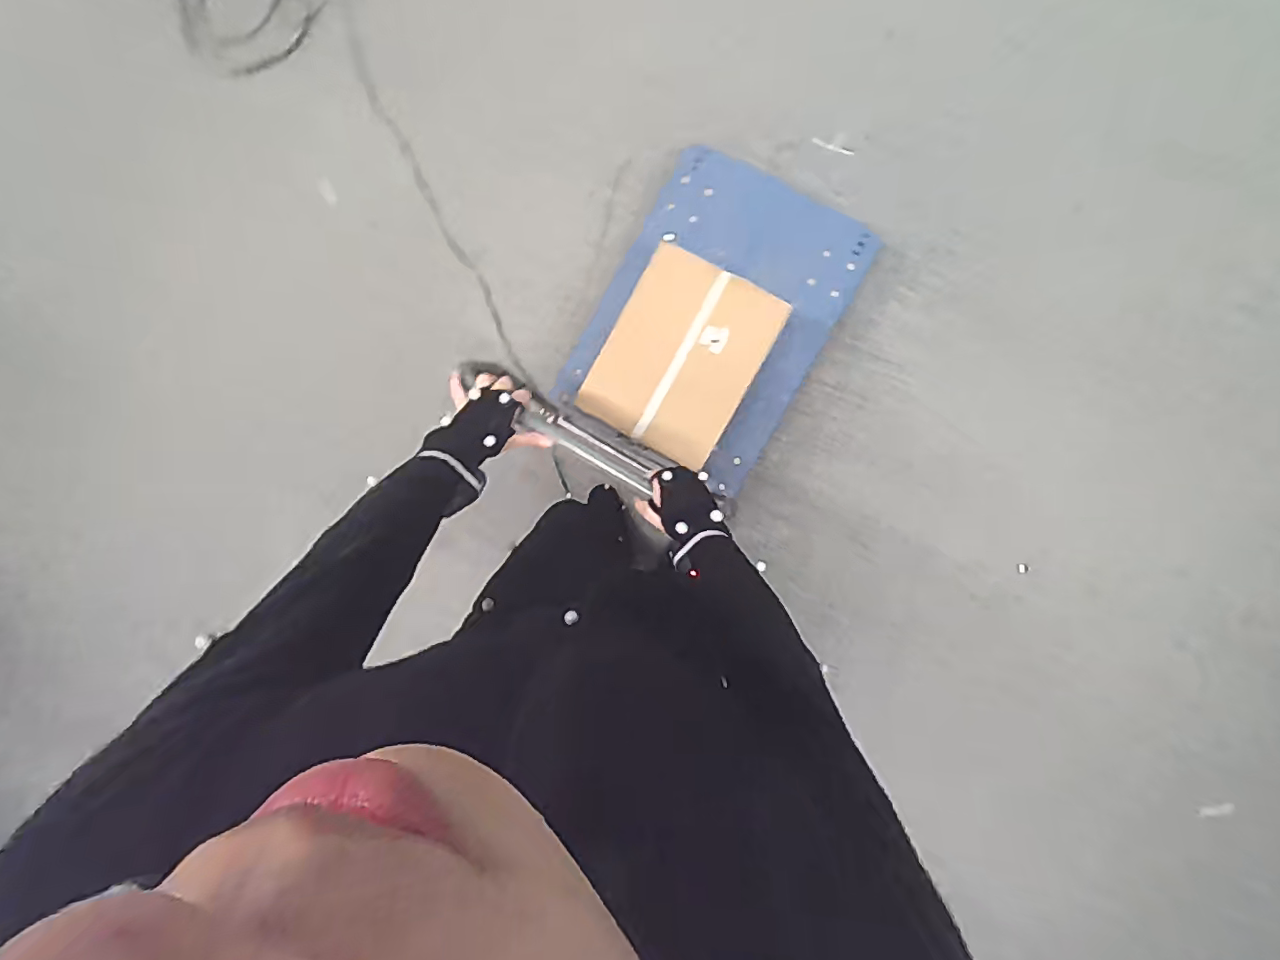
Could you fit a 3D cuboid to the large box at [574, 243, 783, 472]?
[{"bbox_3d":[0.092,-0.264,1.305,0.320,0.320,0.408,29,92,4],"label":"large box"}]
